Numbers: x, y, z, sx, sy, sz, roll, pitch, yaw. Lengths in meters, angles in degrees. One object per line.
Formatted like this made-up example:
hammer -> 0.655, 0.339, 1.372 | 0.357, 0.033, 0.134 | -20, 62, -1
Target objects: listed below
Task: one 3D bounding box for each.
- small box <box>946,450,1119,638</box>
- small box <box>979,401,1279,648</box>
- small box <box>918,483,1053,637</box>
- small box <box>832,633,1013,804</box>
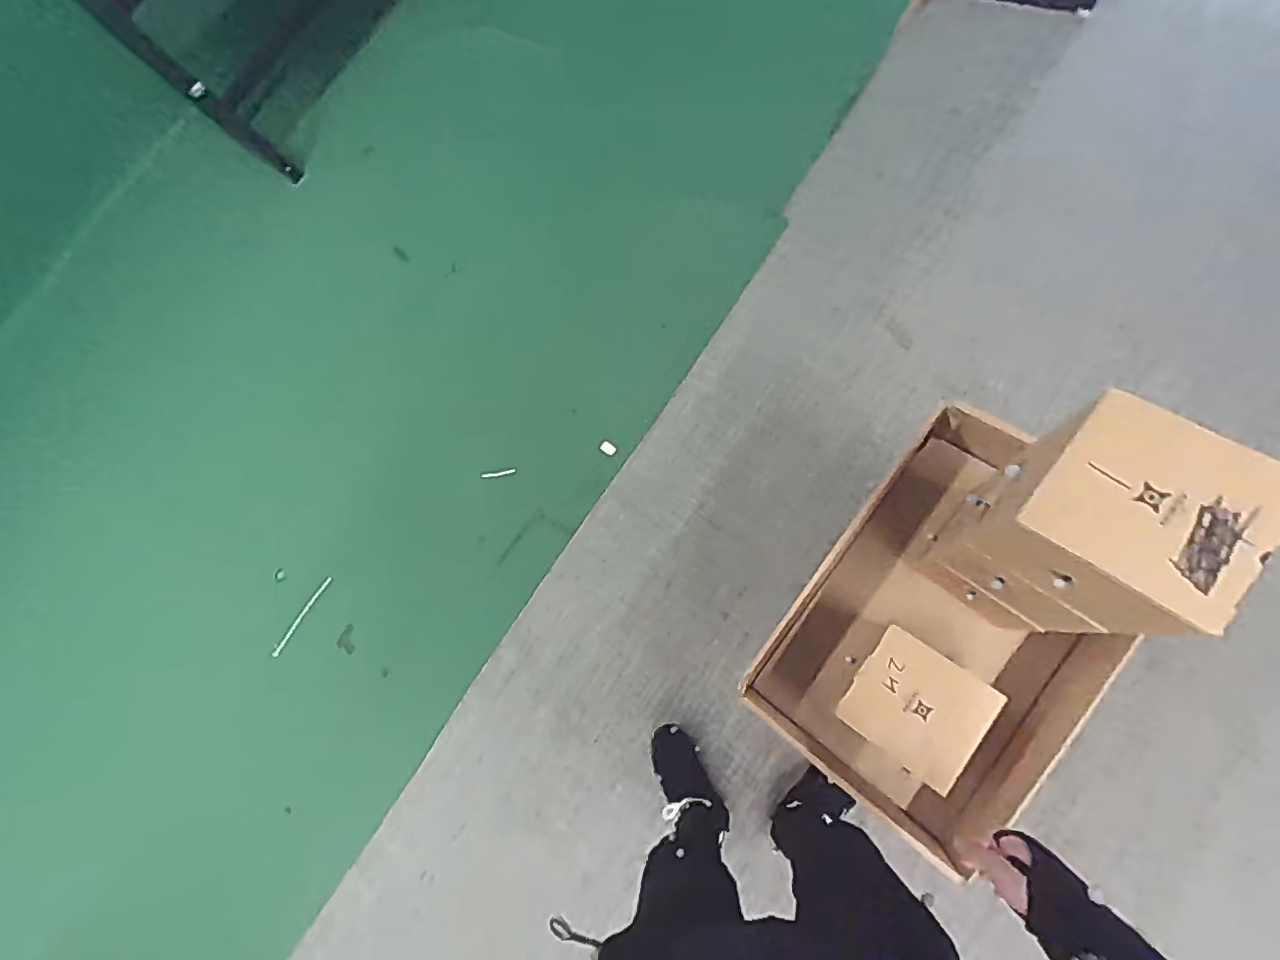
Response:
small box -> 0.547, 0.093, 0.722 | 0.179, 0.176, 0.168 | 38, 89, 22
small box -> 0.506, 0.051, 0.567 | 0.179, 0.176, 0.168 | 37, 88, 22
small box -> 0.587, 0.136, 0.875 | 0.179, 0.176, 0.168 | 39, 88, 21
small box -> 0.427, 0.358, 0.850 | 0.179, 0.176, 0.168 | 35, 85, 21
